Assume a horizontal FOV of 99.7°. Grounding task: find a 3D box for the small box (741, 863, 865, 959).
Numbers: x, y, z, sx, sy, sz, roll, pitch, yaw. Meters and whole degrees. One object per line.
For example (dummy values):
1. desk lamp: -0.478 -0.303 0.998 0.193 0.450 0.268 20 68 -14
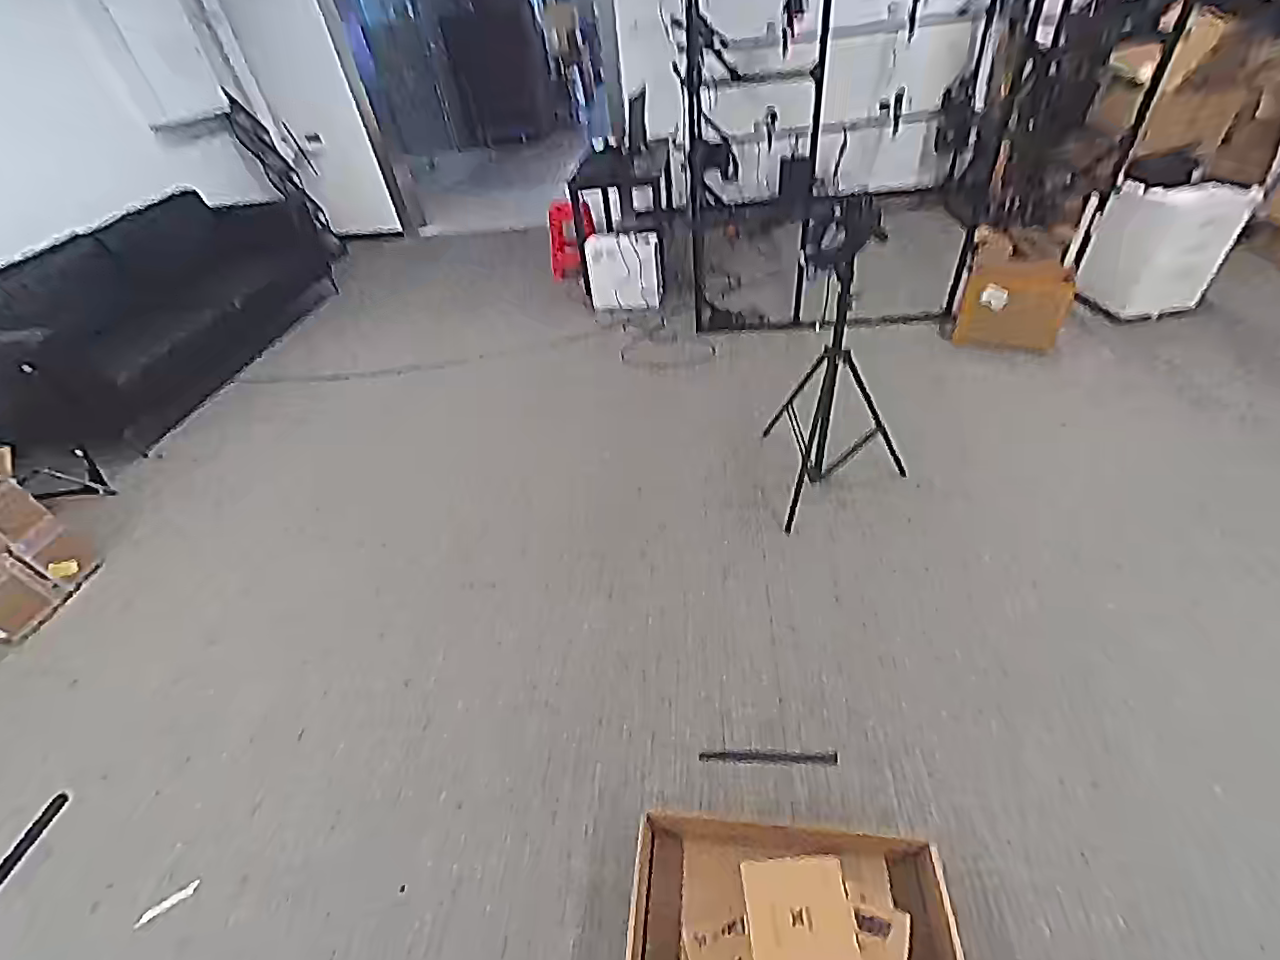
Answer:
1. small box: 0.275 0.791 0.942 0.179 0.176 0.168 -6 39 3
